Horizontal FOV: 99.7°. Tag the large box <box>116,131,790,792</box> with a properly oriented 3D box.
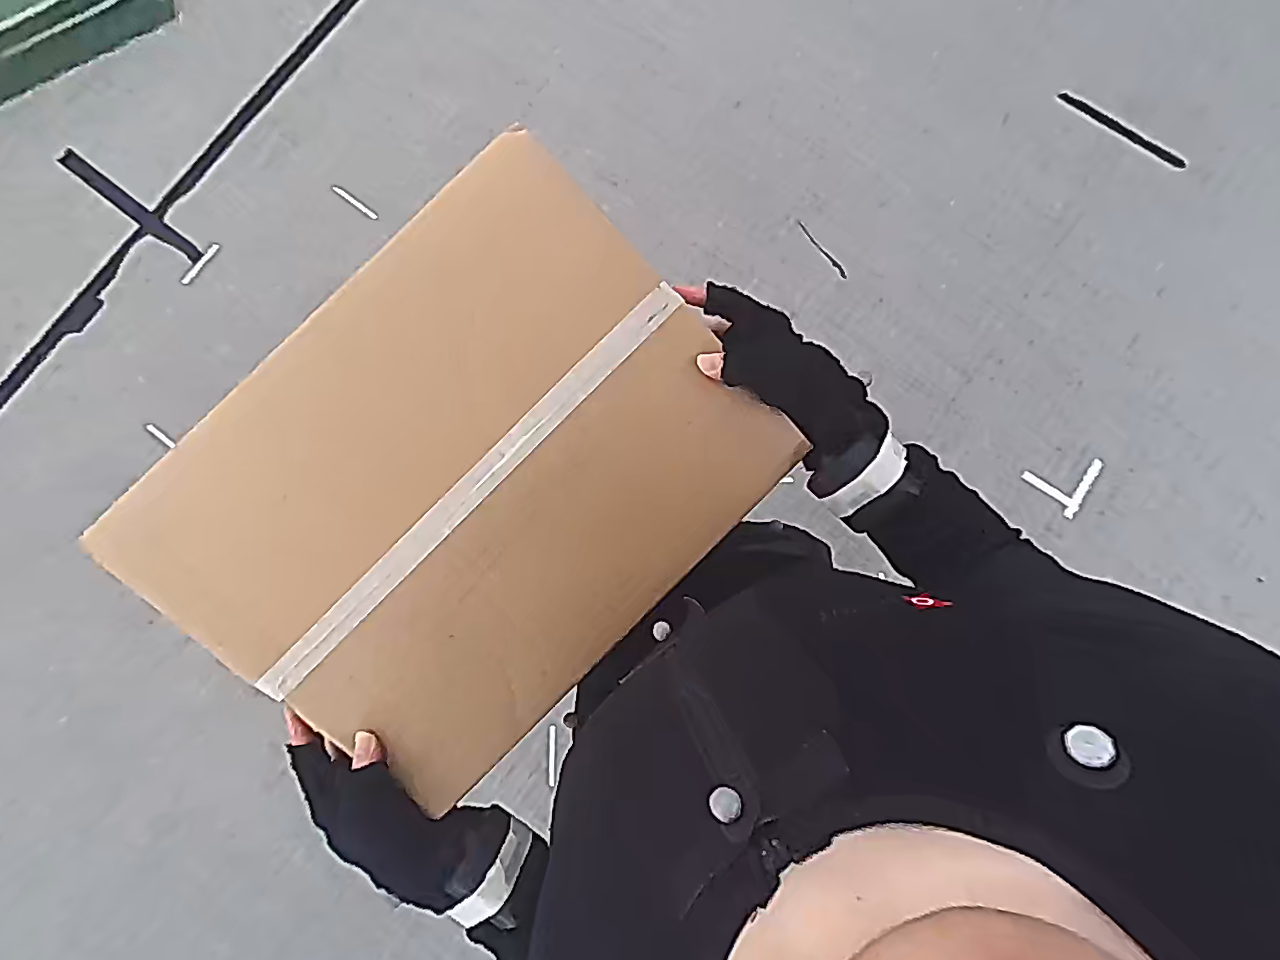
[{"bbox_3d":[-0.141,-0.014,0.545,0.408,0.320,0.320,-45,101,-1],"label":"large box"}]
